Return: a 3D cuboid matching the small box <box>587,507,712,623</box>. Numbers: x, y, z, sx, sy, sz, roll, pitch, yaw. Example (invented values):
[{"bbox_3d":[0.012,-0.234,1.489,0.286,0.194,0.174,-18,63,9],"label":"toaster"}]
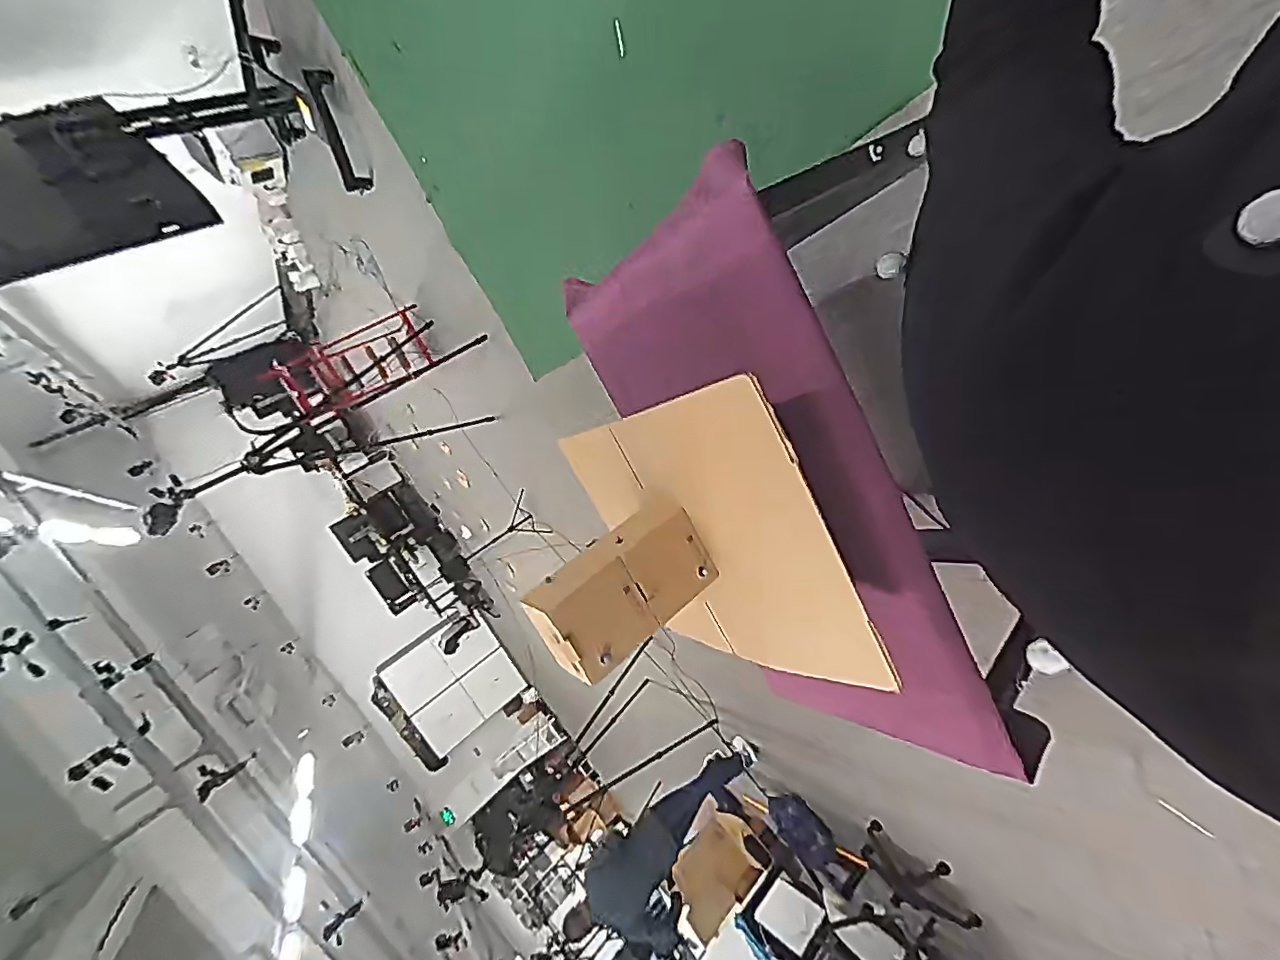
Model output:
[{"bbox_3d":[0.026,0.165,1.116,0.179,0.176,0.168,-6,115,61],"label":"small box"}]
